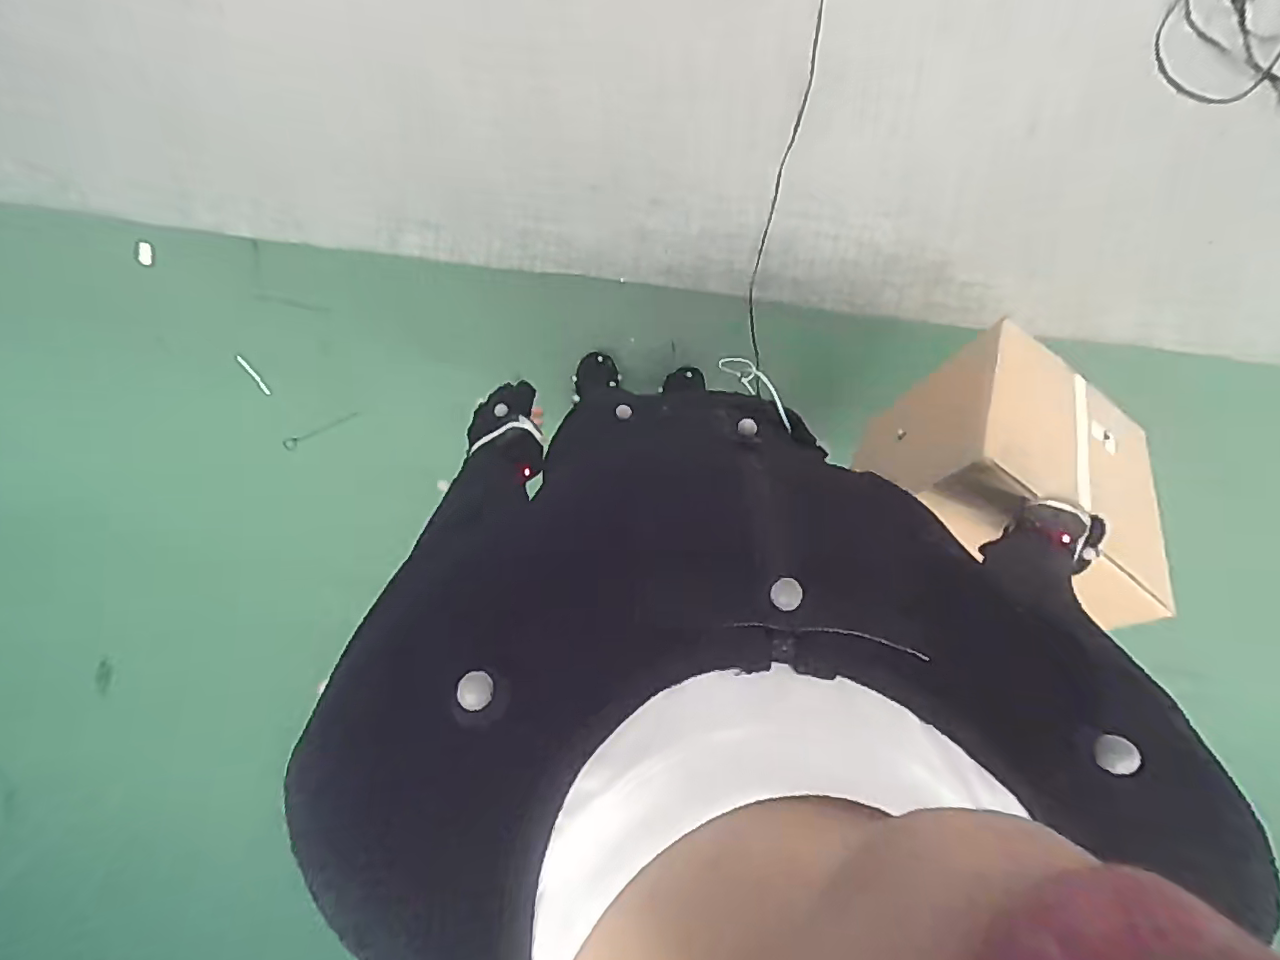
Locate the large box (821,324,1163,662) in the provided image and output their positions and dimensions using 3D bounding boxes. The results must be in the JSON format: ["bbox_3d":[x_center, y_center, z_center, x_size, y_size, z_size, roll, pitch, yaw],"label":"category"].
[{"bbox_3d":[0.563,0.023,0.906,0.320,0.408,0.320,40,140,-2],"label":"large box"}]
